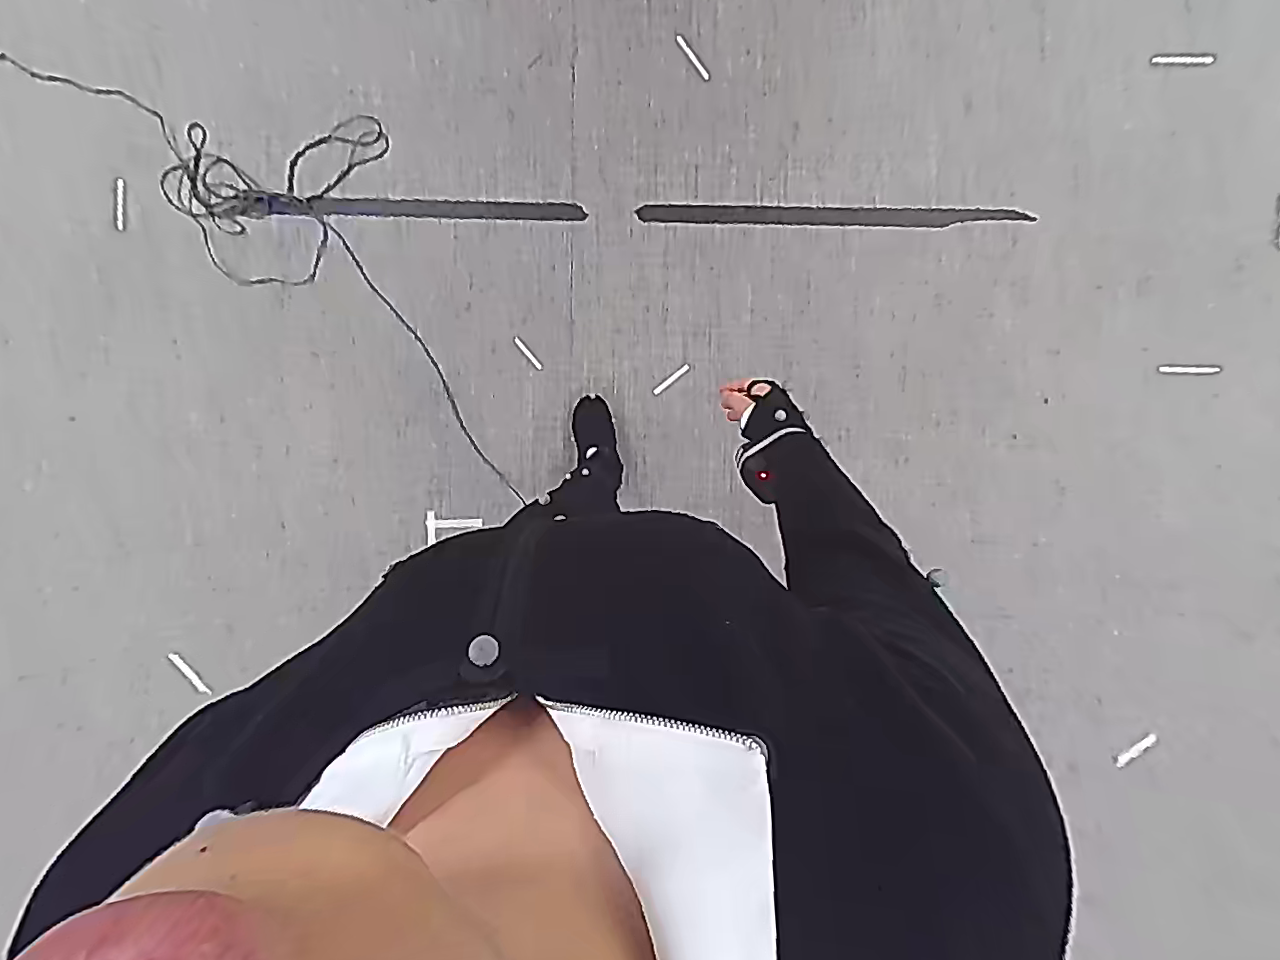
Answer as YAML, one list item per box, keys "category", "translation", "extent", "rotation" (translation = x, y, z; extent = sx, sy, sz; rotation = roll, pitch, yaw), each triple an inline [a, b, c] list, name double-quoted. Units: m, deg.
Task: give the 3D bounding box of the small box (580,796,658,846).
- category: "small box"
  translation: [-0.040, 0.823, 1.215]
  extent: [0.168, 0.176, 0.179]
  rotation: [-1, 91, 2]
